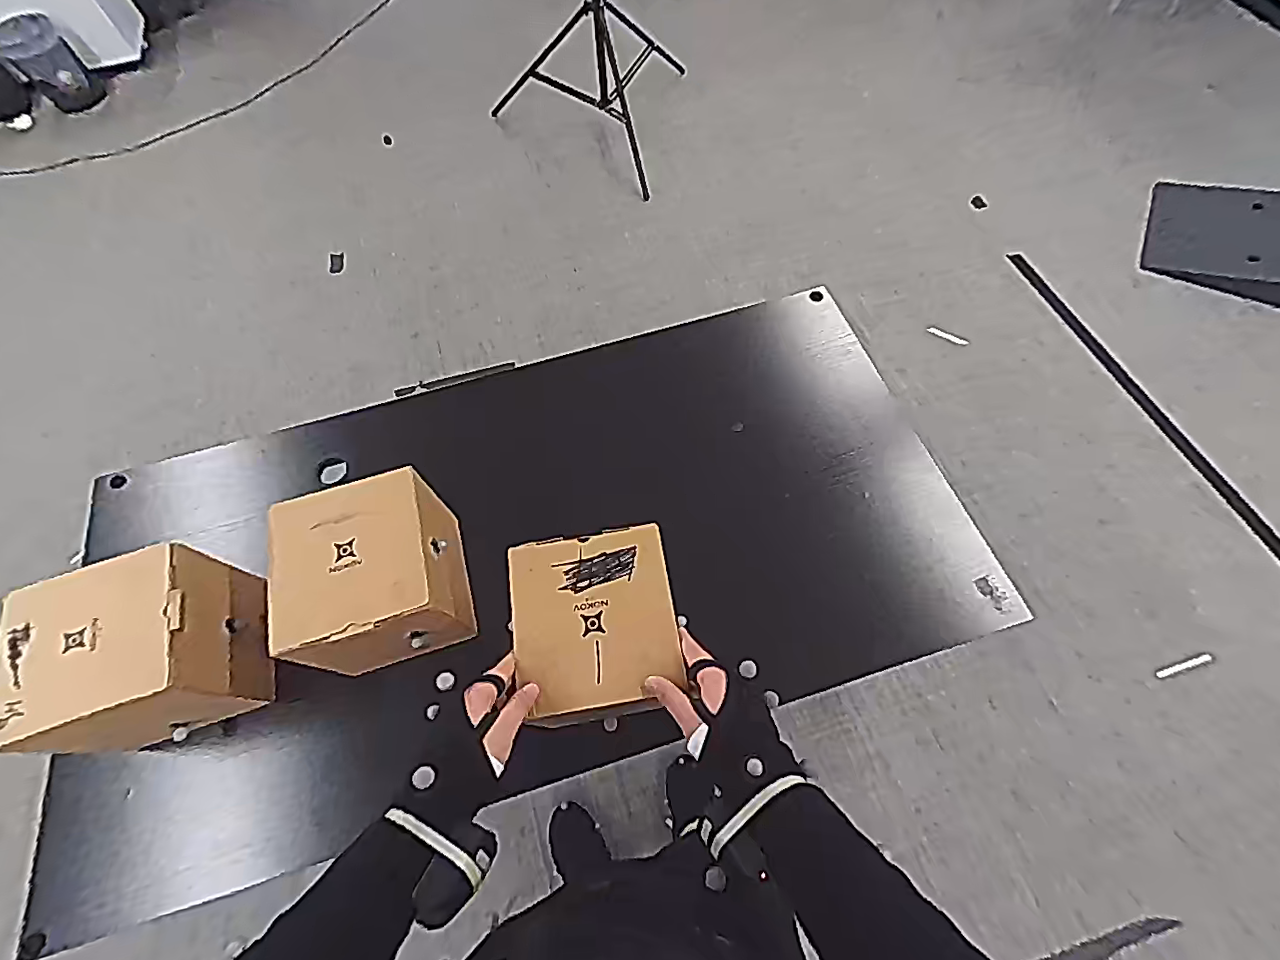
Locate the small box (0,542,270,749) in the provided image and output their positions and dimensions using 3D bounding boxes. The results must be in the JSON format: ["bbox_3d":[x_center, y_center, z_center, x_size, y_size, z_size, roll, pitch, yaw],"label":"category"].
[{"bbox_3d":[-0.562,0.196,0.628,0.179,0.176,0.168,-18,64,-8],"label":"small box"}]

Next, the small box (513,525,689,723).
[{"bbox_3d":[-0.043,0.171,0.621,0.168,0.176,0.179,-9,65,-2],"label":"small box"}]

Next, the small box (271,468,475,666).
[{"bbox_3d":[-0.315,0.116,0.661,0.168,0.176,0.179,-17,64,-7],"label":"small box"}]
